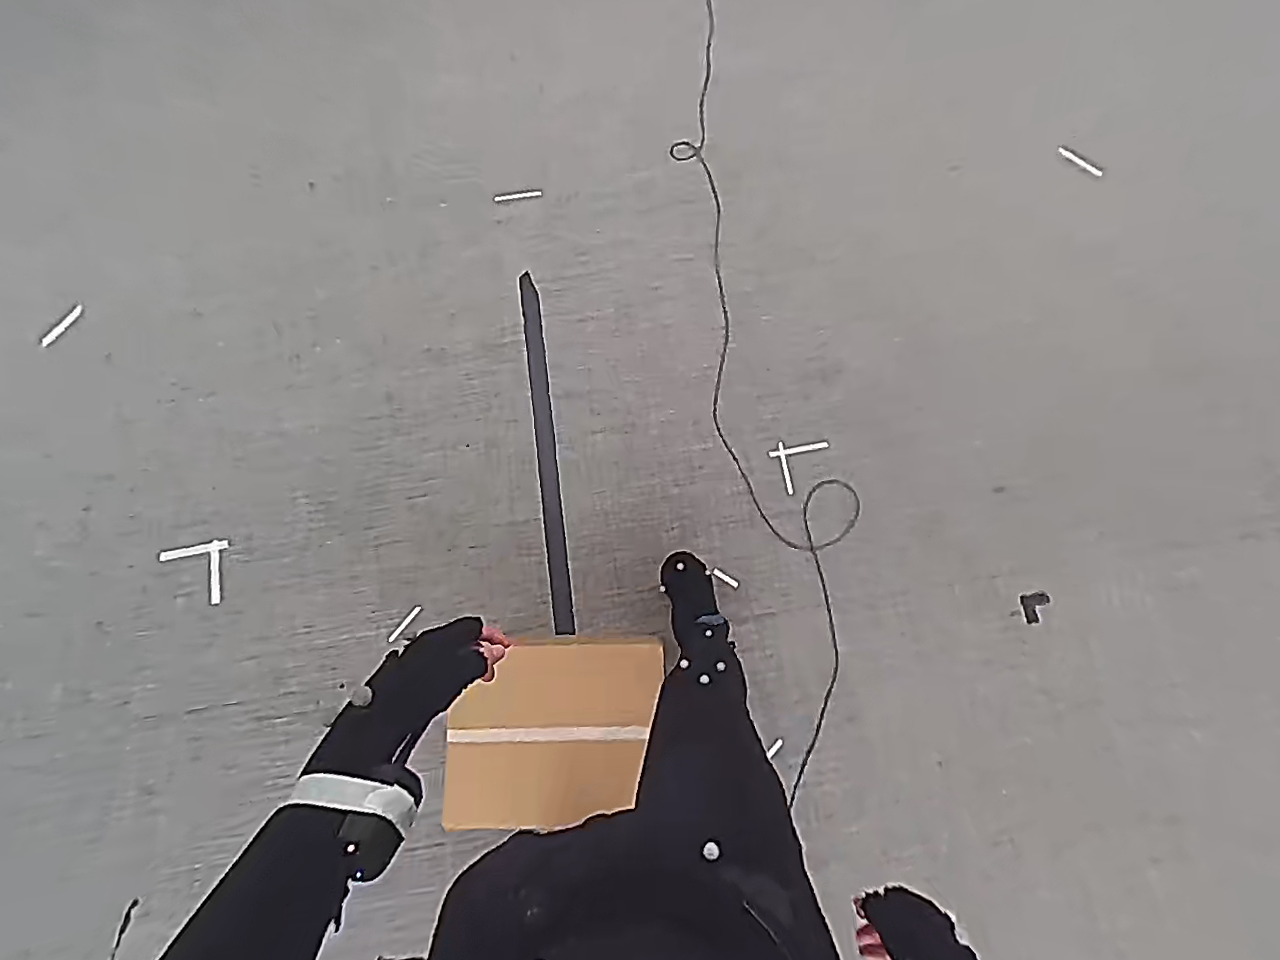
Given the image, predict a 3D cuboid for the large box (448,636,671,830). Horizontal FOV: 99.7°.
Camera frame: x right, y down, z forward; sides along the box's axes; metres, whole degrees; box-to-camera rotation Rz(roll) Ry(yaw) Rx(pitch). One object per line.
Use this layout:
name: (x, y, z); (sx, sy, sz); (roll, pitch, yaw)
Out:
large box: (-0.146, 0.498, 1.132); (0.408, 0.320, 0.320); (-1, 78, 1)
